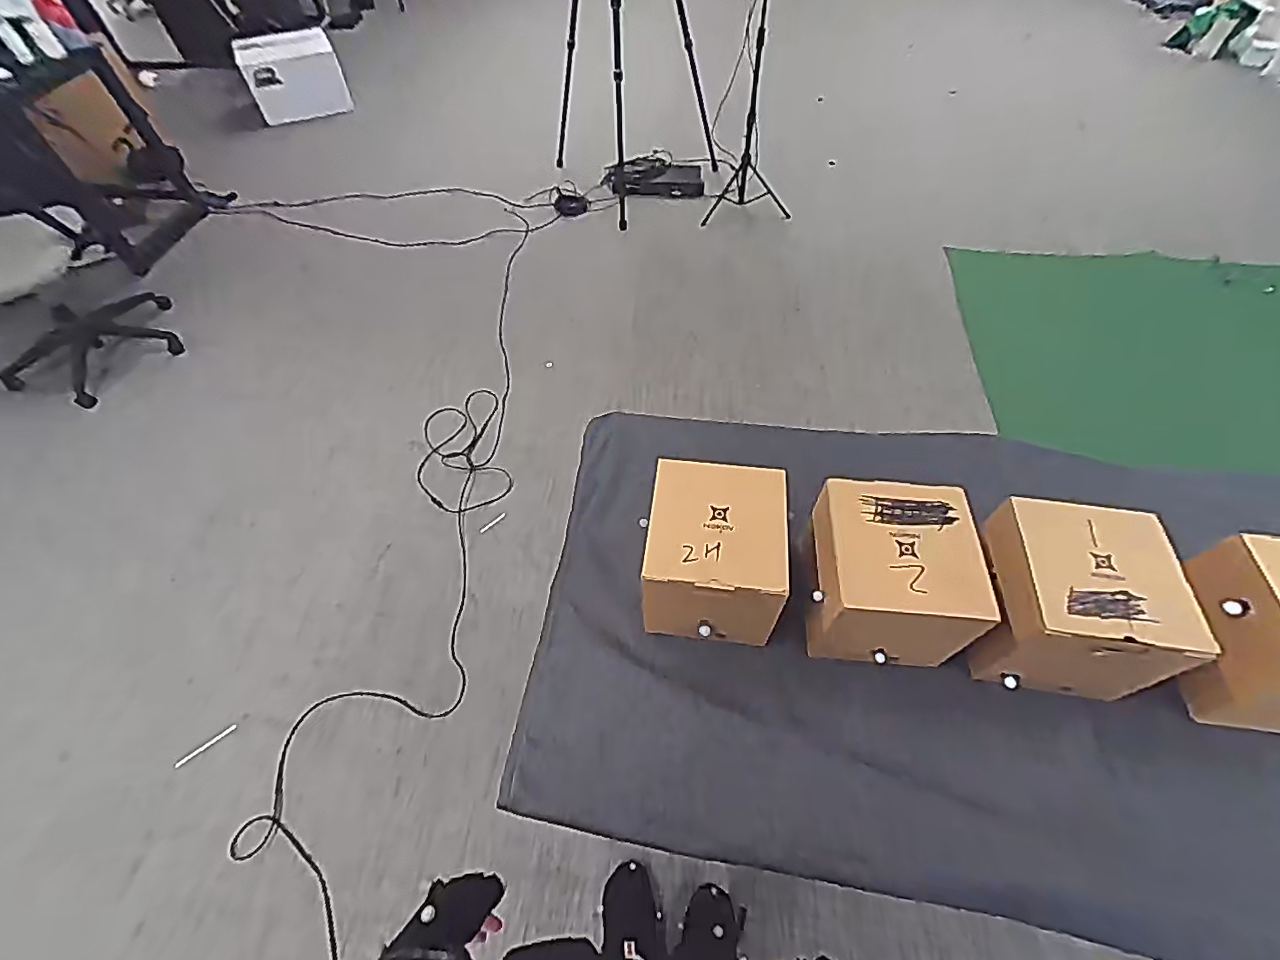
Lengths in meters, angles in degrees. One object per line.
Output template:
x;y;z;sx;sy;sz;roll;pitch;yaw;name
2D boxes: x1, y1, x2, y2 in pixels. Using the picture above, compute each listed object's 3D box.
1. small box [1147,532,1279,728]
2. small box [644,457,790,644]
0.757;0.183;0.624;0.168;0.176;0.179;6;54;6;small box
0.097;0.094;0.711;0.168;0.176;0.179;5;55;6;small box
